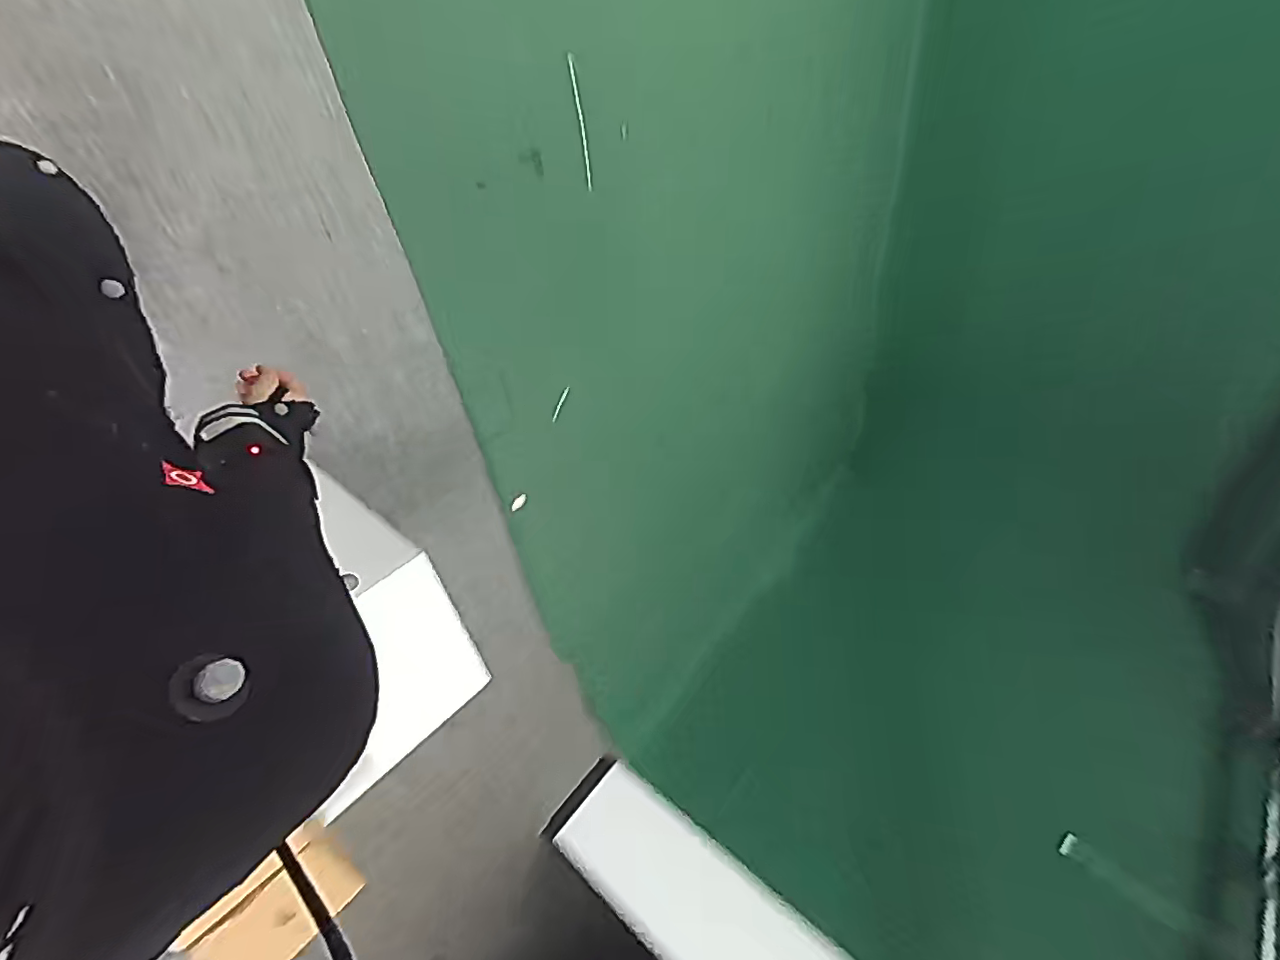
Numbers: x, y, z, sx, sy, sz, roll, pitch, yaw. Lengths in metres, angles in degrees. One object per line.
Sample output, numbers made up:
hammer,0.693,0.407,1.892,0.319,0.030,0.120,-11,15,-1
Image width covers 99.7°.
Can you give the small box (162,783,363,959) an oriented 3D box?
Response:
small box,-0.565,0.600,0.814,0.168,0.176,0.179,-38,137,-33
